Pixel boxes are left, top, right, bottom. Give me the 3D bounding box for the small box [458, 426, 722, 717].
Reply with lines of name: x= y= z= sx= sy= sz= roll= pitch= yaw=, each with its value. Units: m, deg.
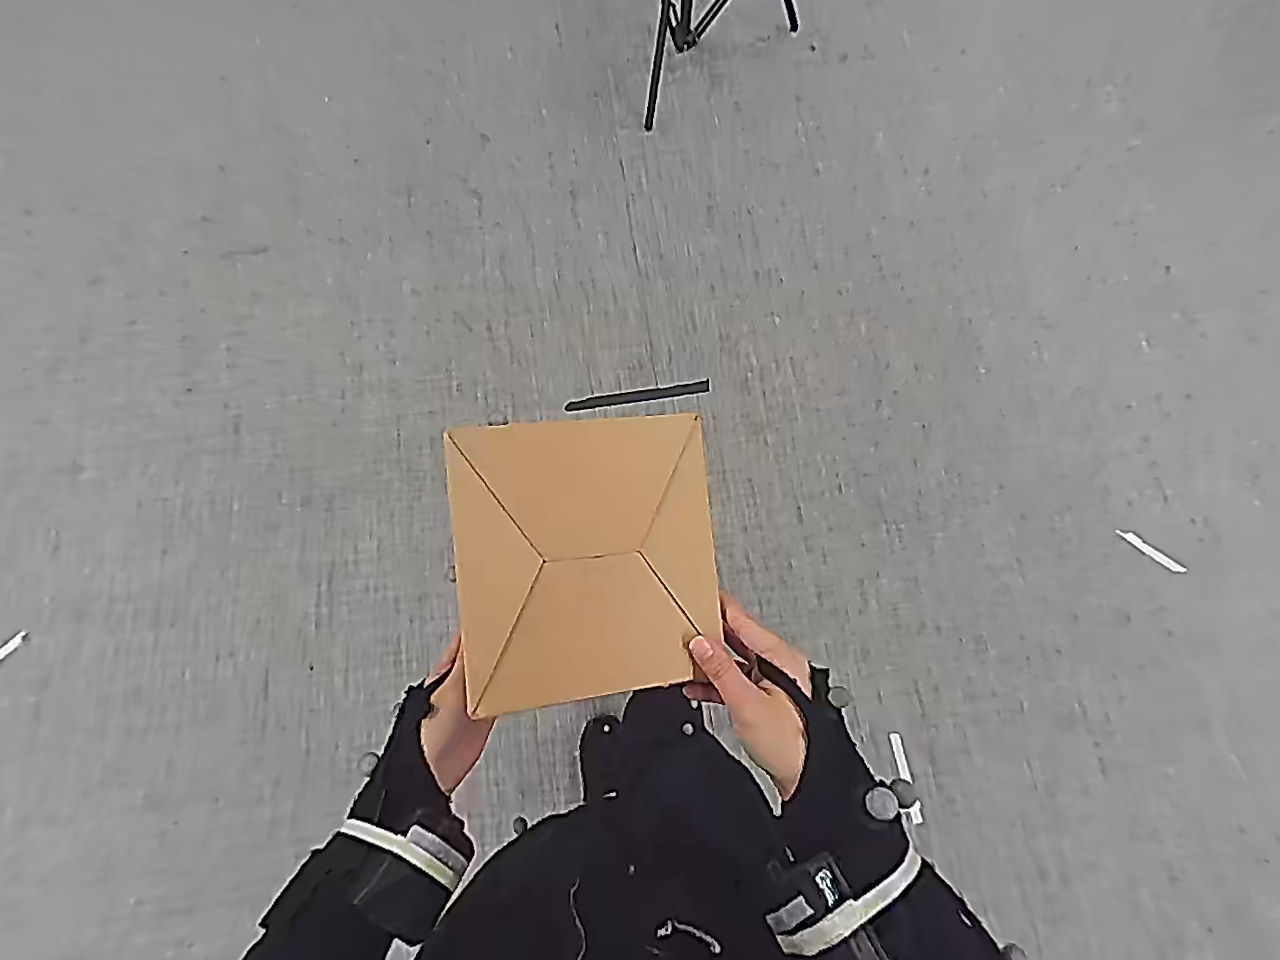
small box: x=-0.046 y=0.057 z=0.424 sx=0.168 sy=0.176 sz=0.179 roll=-5 pitch=87 yaw=-14
